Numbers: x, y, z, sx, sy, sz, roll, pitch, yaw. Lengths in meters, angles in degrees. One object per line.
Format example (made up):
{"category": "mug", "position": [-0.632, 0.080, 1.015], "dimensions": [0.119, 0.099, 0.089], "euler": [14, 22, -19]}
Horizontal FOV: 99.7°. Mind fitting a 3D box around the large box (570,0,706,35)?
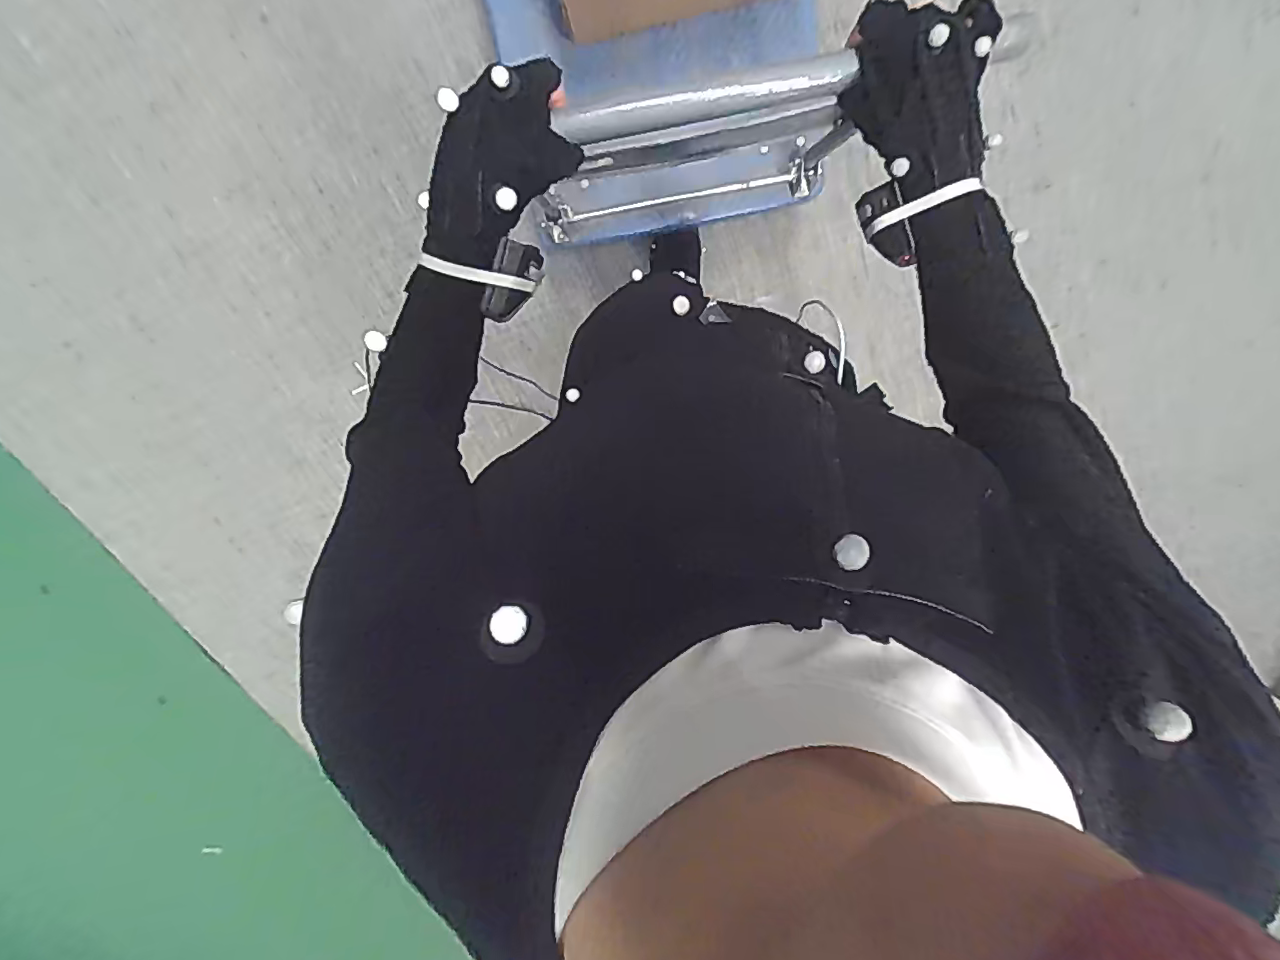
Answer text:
{"category": "large box", "position": [0.052, -0.927, 0.775], "dimensions": [0.408, 0.320, 0.320], "euler": [-12, 111, 6]}
